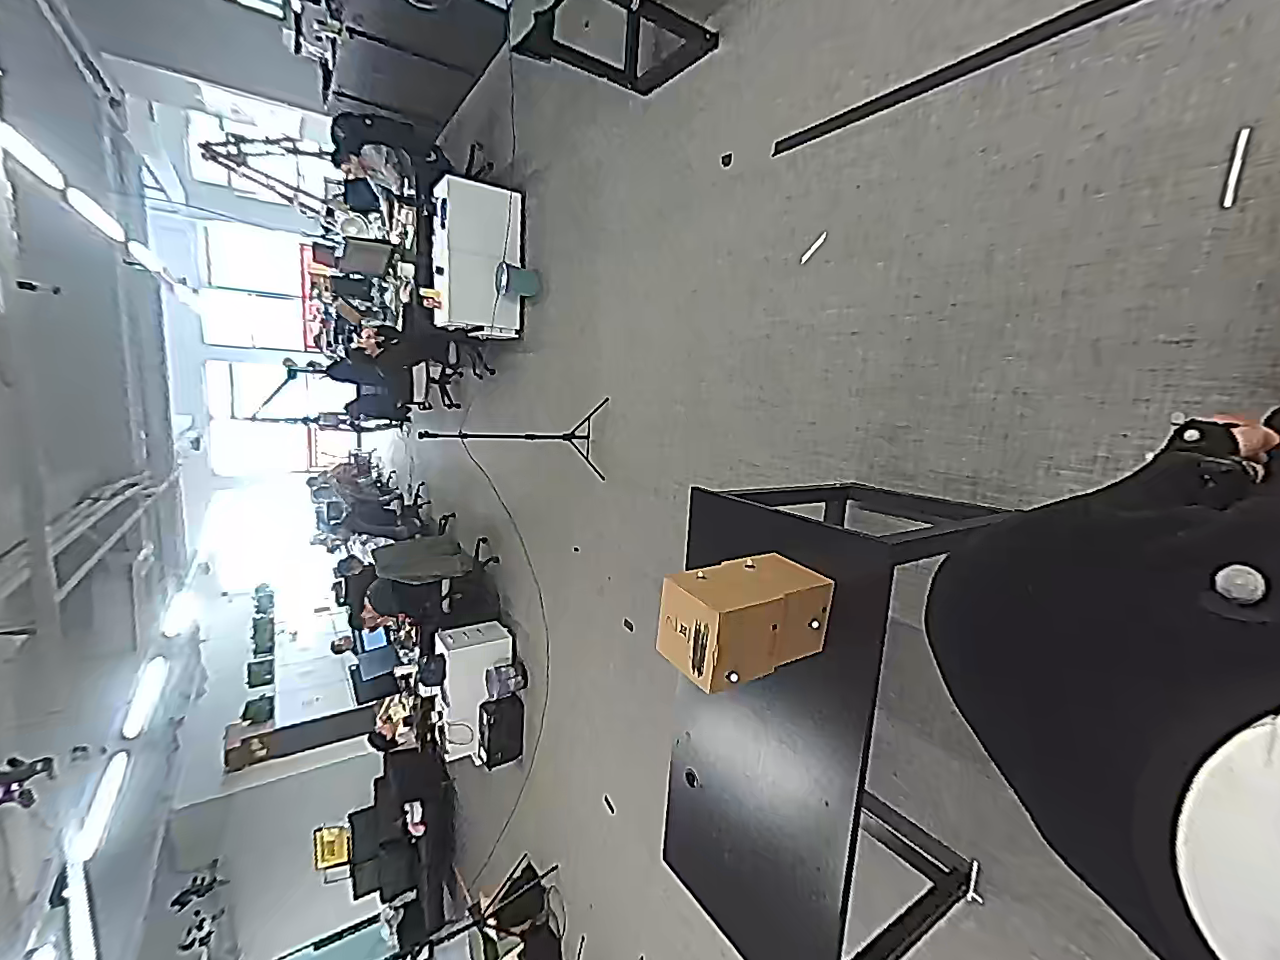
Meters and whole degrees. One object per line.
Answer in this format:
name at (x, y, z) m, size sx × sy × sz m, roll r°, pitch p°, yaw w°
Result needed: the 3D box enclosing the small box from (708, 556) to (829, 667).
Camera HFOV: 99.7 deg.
small box at (0.274, 0.272, 1.170) m, size 0.179 × 0.176 × 0.168 m, roll 25°, pitch 114°, yaw 53°
